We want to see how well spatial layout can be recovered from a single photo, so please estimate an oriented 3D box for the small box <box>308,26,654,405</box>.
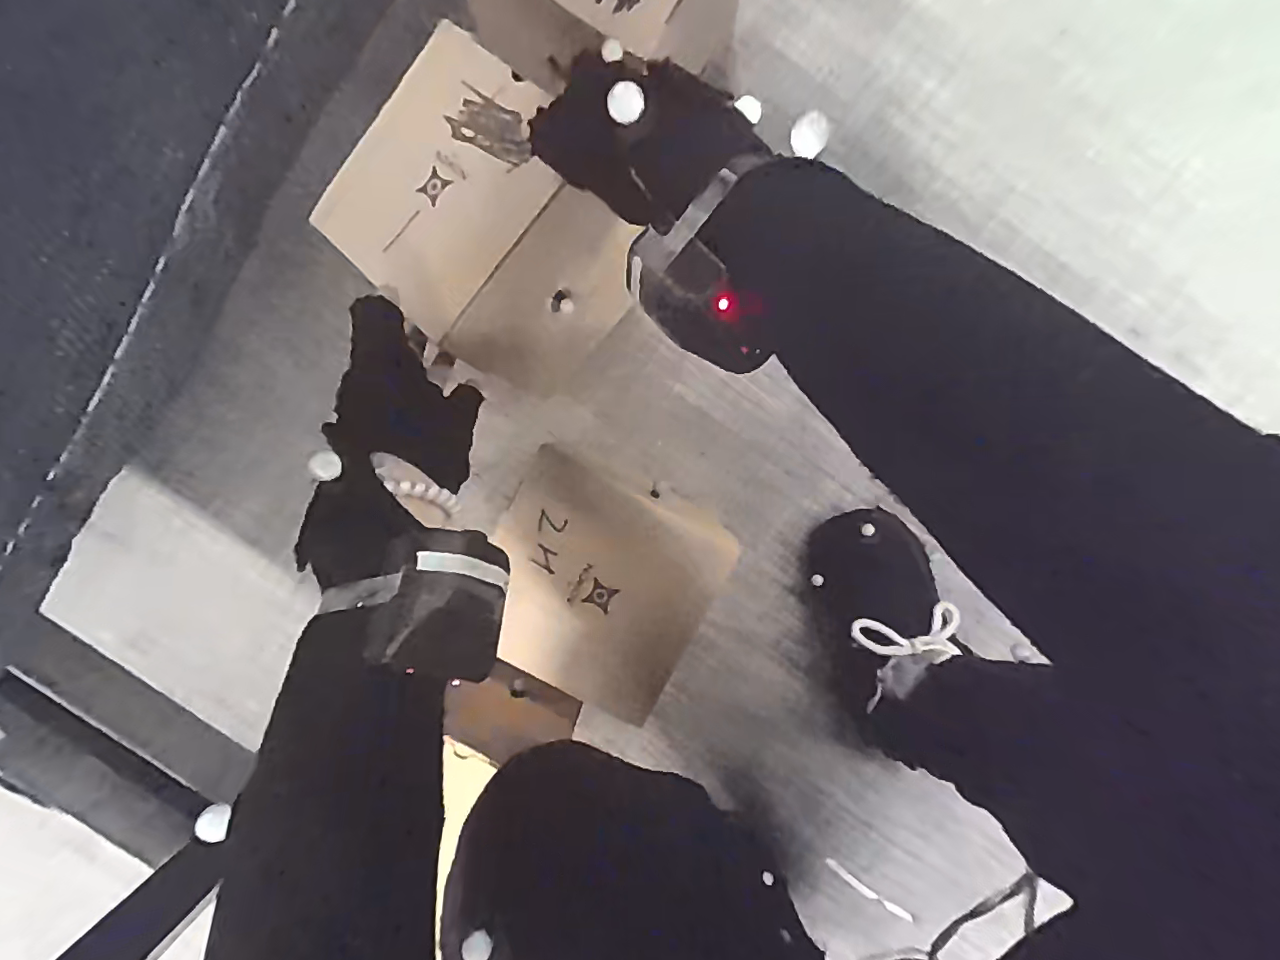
[{"bbox_3d":[-0.107,-0.188,0.436,0.168,0.176,0.179,44,99,17],"label":"small box"}]
